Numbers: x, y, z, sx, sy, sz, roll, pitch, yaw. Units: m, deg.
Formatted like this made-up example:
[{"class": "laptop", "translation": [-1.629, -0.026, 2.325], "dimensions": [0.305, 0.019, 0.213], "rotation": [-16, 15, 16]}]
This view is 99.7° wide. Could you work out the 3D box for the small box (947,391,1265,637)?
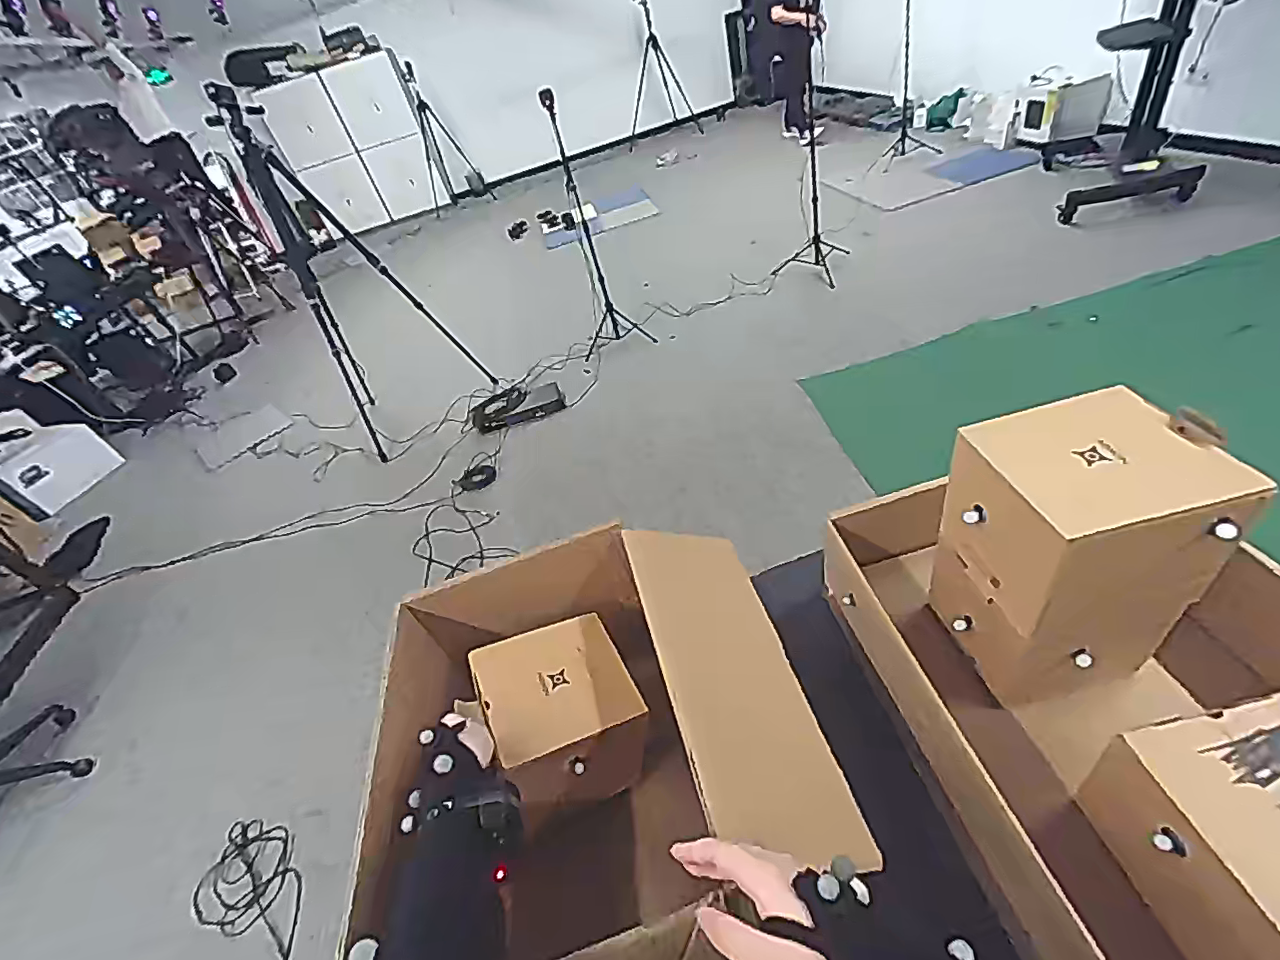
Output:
[{"class": "small box", "translation": [0.447, 0.039, 0.564], "dimensions": [0.179, 0.176, 0.168], "rotation": [-15, 42, 3]}]
